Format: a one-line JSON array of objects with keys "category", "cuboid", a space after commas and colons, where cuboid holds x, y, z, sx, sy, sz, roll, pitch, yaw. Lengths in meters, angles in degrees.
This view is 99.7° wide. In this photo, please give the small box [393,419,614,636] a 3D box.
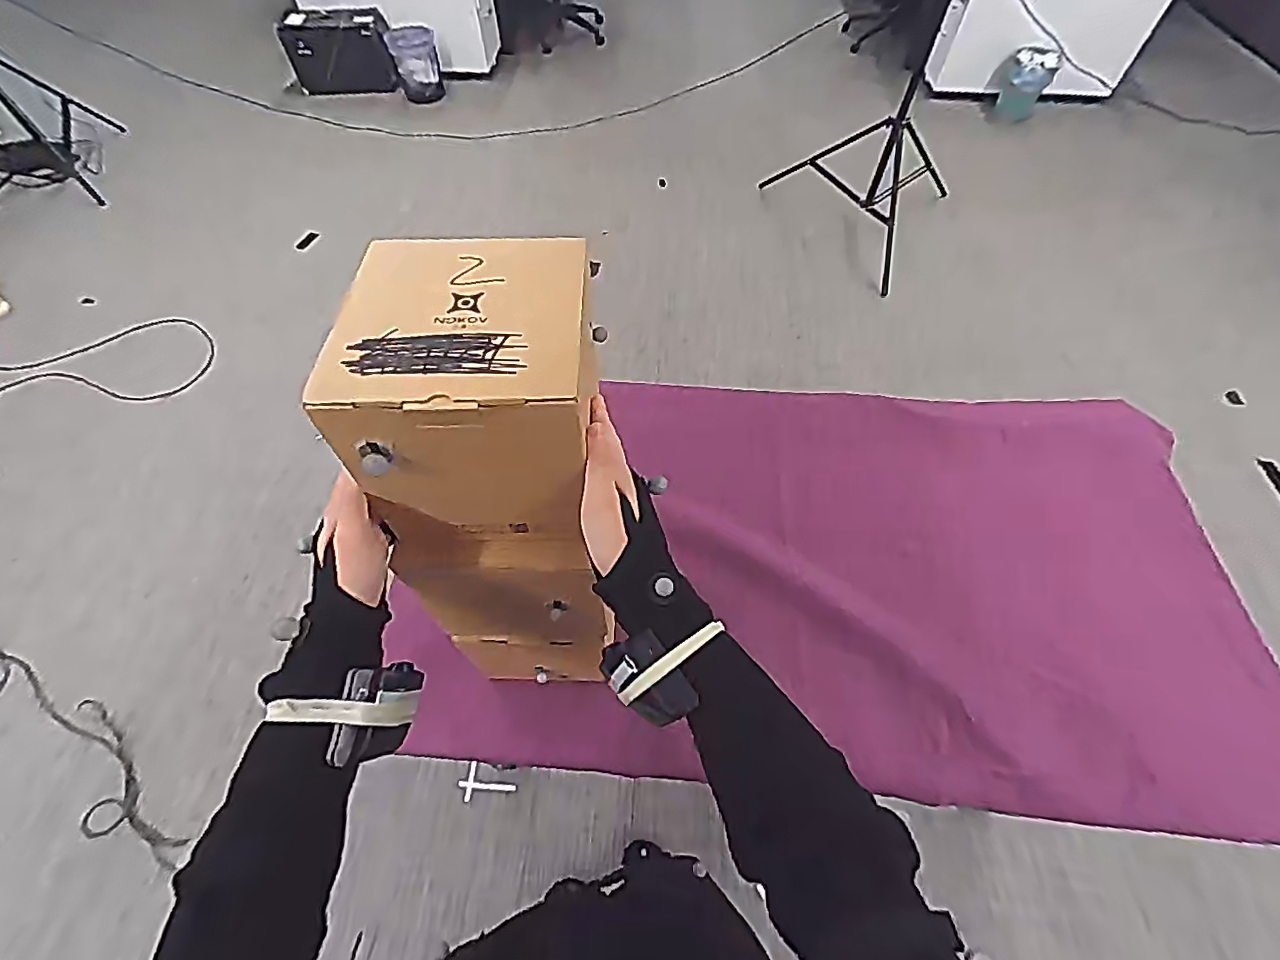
[{"category": "small box", "cuboid": [-0.118, 0.054, 0.558, 0.179, 0.176, 0.168, -1, 55, 1]}]

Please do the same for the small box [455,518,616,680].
[{"category": "small box", "cuboid": [-0.118, 0.144, 0.693, 0.168, 0.176, 0.179, 1, 57, 1]}]
